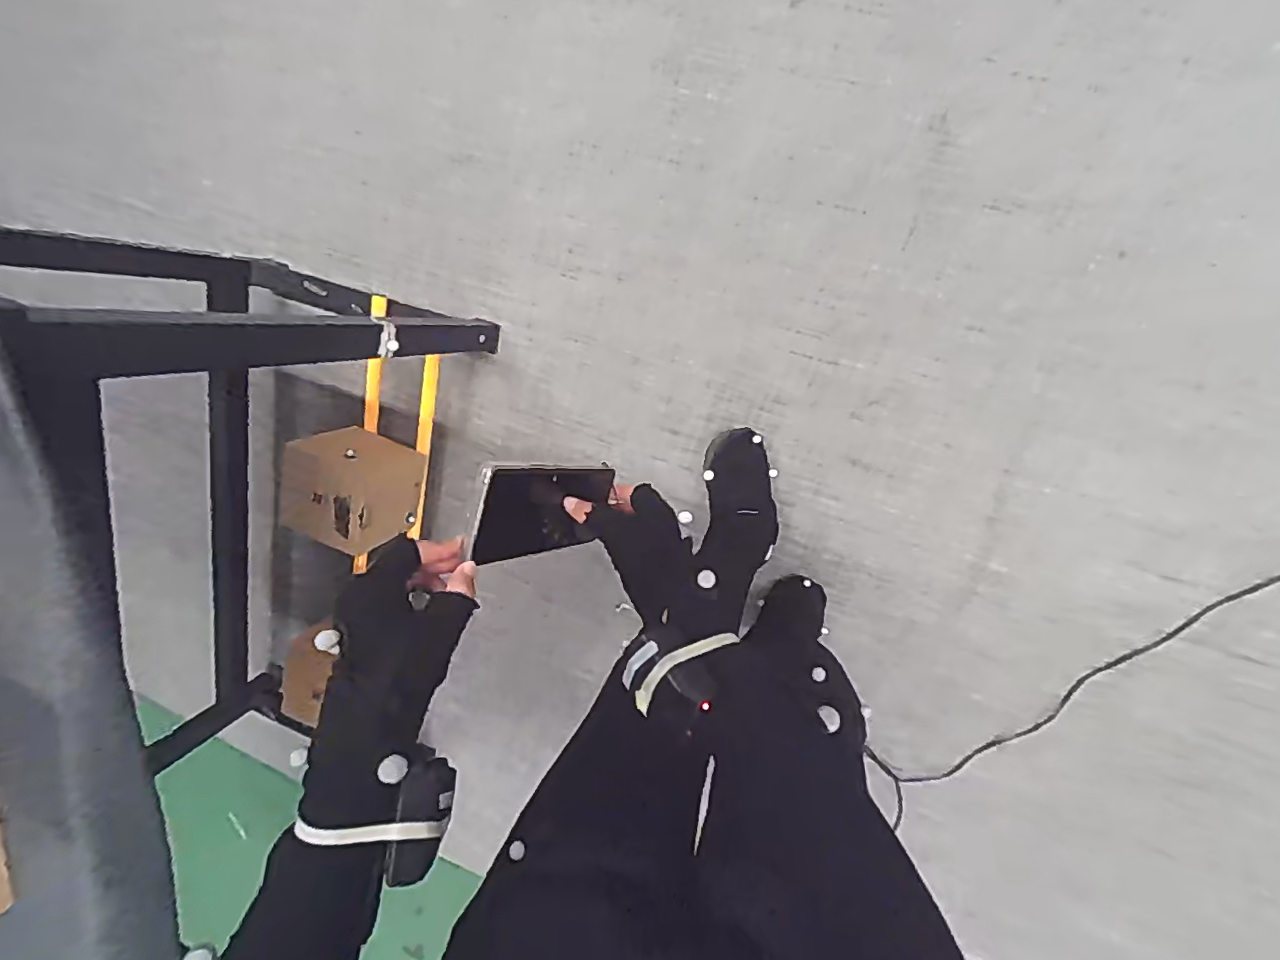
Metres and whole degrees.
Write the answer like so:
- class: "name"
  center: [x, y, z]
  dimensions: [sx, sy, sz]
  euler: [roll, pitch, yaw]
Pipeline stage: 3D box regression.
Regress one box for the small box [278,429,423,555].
- class: "small box"
  center: [-0.544, 0.013, 1.029]
  dimensions: [0.179, 0.176, 0.168]
  euler: [21, 110, 9]
